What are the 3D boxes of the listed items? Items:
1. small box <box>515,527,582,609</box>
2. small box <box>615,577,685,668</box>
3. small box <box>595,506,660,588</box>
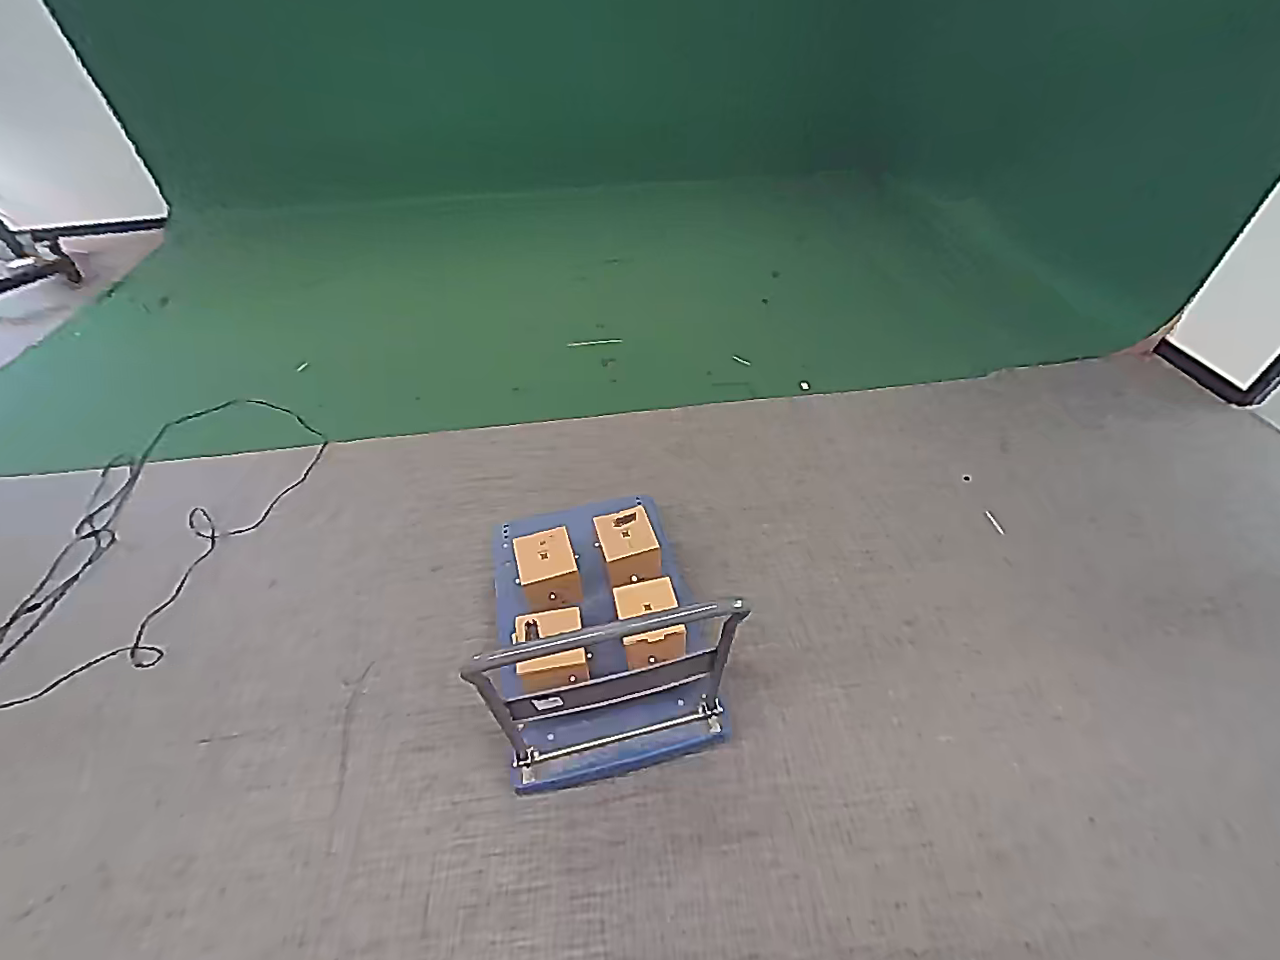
[{"bbox_3d":[-0.280,0.279,1.673,0.168,0.176,0.179,-13,47,-11],"label":"small box"},{"bbox_3d":[0.025,0.406,1.538,0.168,0.176,0.179,-11,47,-8],"label":"small box"},{"bbox_3d":[-0.041,0.217,1.720,0.168,0.176,0.179,-15,48,-10],"label":"small box"}]
